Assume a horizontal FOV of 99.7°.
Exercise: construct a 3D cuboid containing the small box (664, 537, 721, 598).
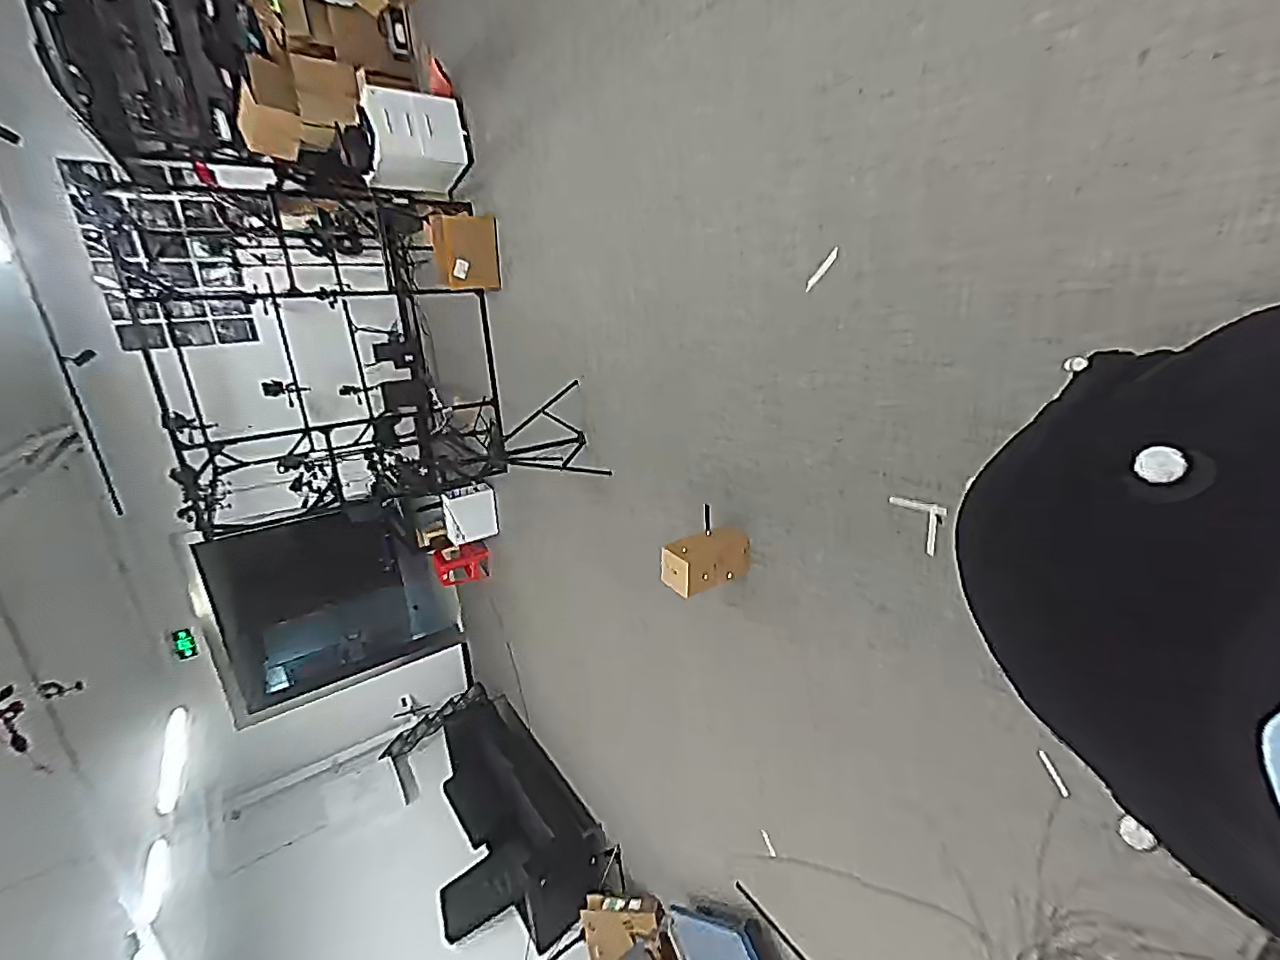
[{"bbox_3d":[0.217,0.353,2.219,0.179,0.176,0.168,28,125,50],"label":"small box"}]
